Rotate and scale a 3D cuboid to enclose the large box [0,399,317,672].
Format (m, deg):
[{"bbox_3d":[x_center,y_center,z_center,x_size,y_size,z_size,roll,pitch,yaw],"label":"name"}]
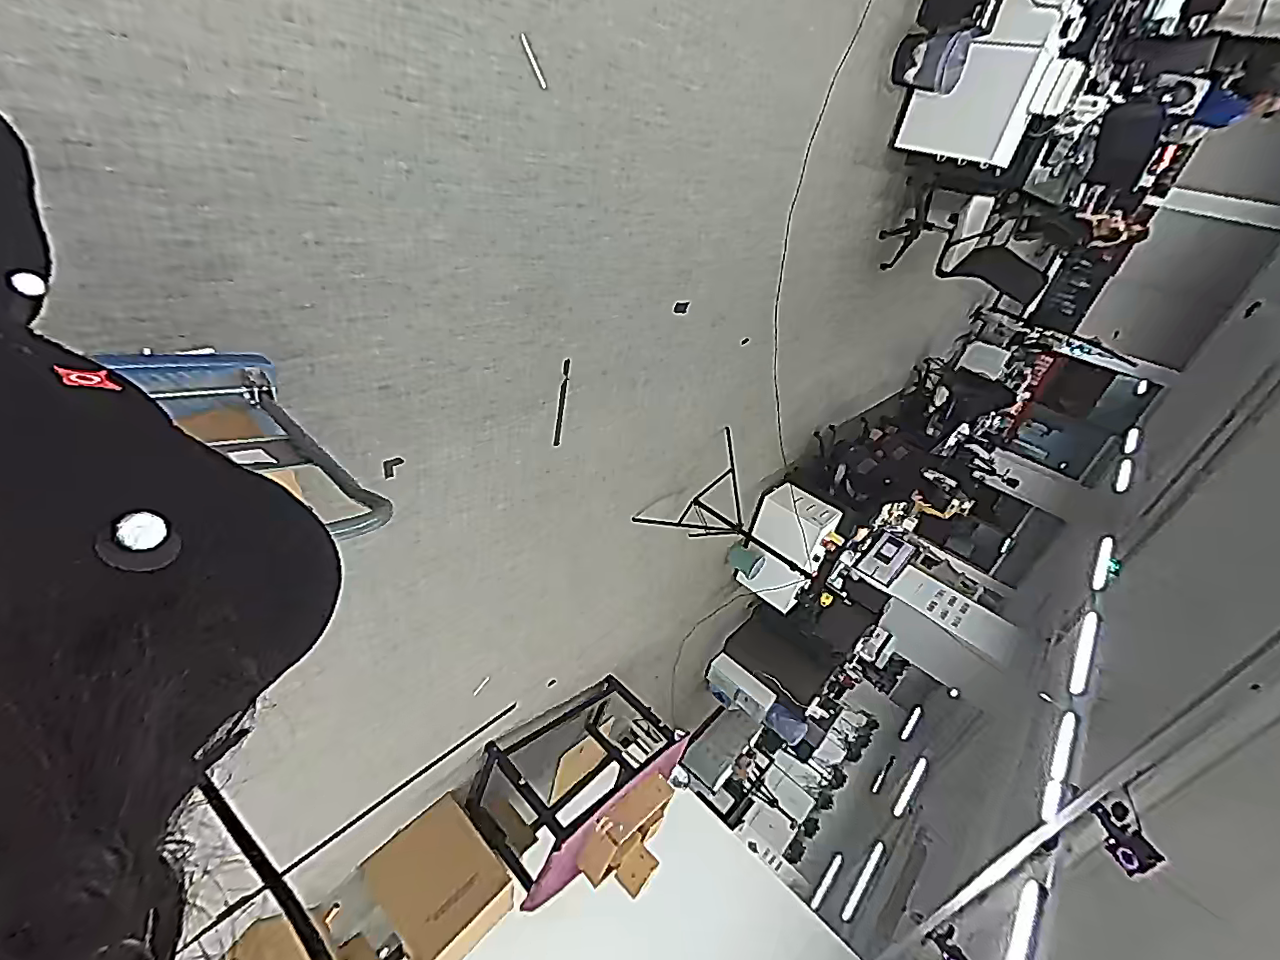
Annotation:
[{"bbox_3d":[-0.960,0.085,1.090,0.408,0.320,0.320,-30,140,-37],"label":"large box"}]
